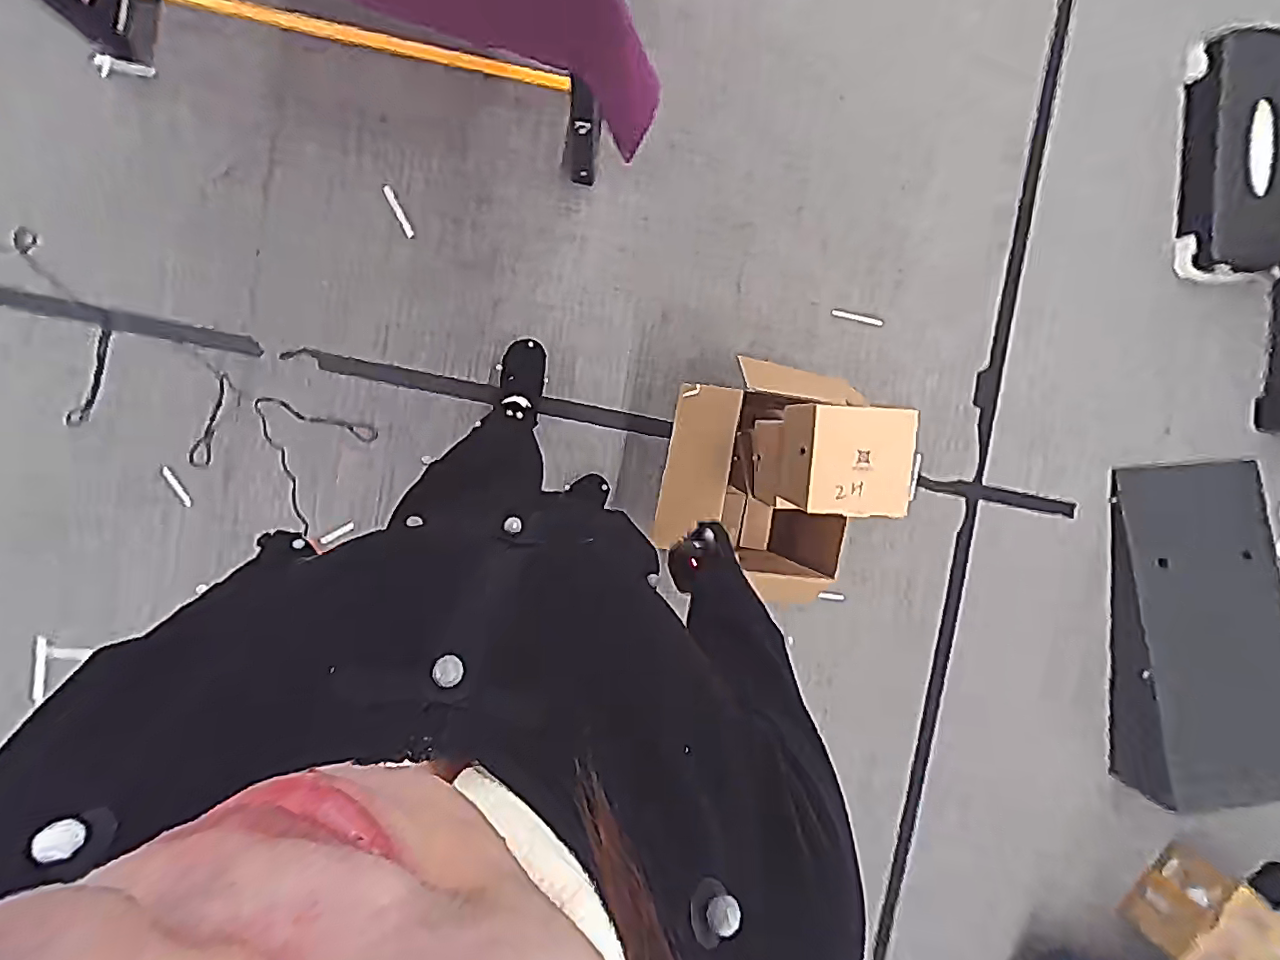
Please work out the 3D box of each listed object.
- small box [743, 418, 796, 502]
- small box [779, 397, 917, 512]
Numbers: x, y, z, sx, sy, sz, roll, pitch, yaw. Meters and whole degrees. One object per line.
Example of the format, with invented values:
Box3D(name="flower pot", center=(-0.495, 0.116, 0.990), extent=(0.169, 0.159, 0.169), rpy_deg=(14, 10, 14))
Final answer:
Box3D(name="small box", center=(0.350, -0.057, 1.269), extent=(0.168, 0.176, 0.179), rpy_deg=(-11, 98, -1))
Box3D(name="small box", center=(0.348, -0.048, 0.938), extent=(0.168, 0.176, 0.179), rpy_deg=(3, 97, -2))
